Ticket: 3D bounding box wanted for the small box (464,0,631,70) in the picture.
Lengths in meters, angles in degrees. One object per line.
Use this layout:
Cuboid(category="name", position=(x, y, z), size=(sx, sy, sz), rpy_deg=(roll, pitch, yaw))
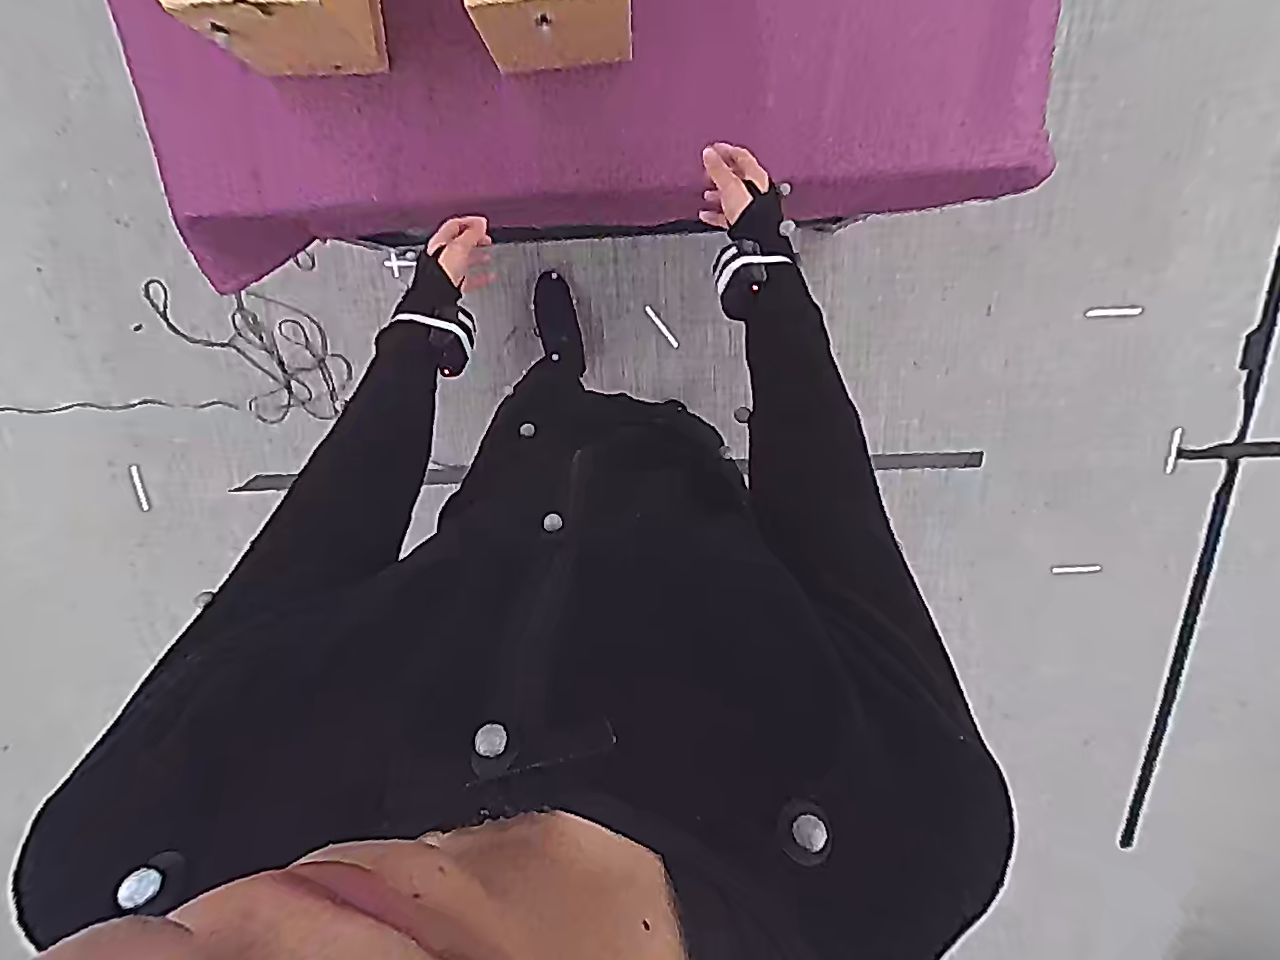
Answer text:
Cuboid(category="small box", position=(-0.103, -0.599, 0.615), size=(0.179, 0.176, 0.168), rpy_deg=(-5, 107, 0))
